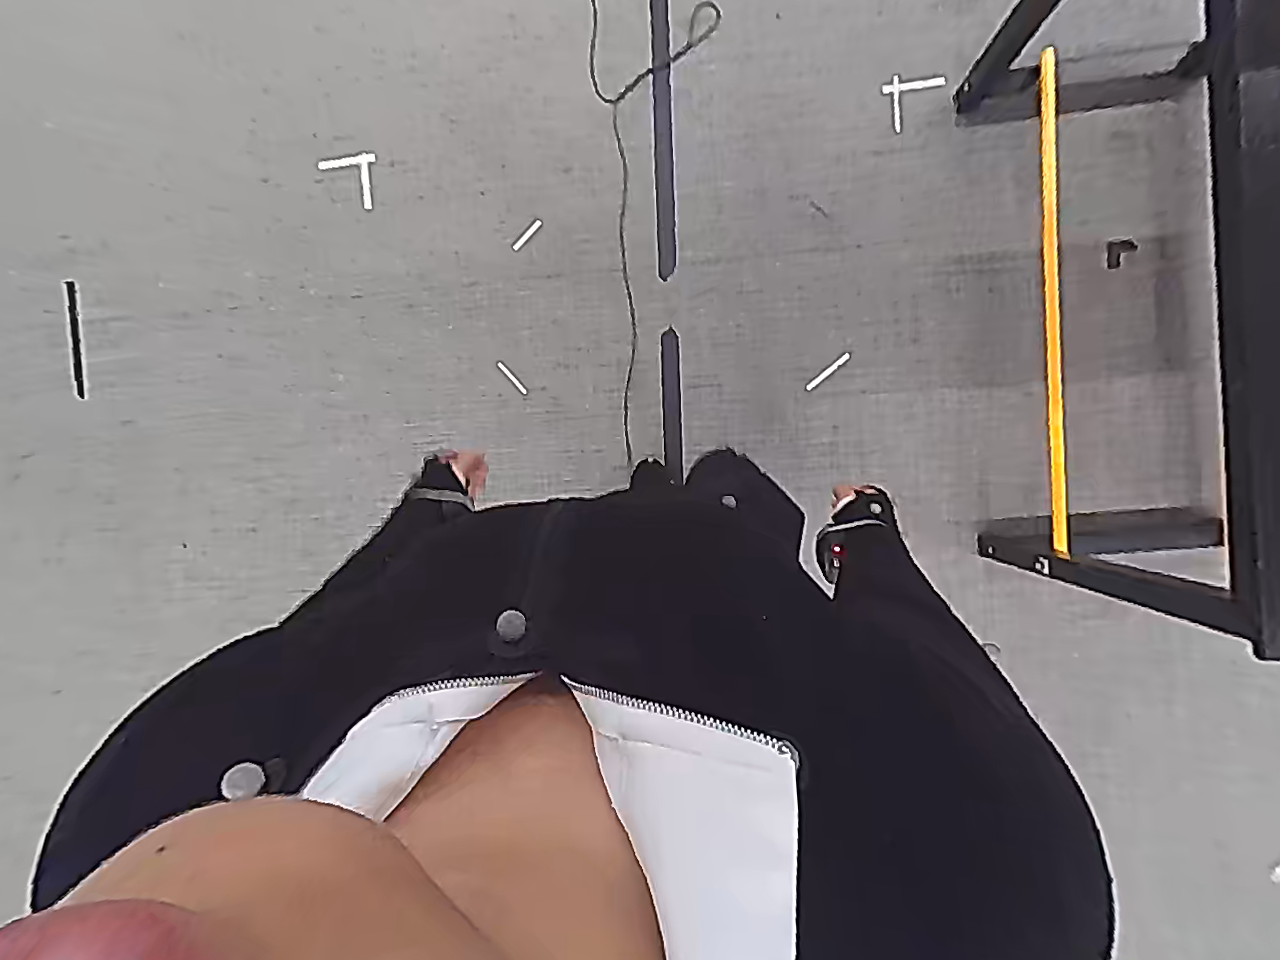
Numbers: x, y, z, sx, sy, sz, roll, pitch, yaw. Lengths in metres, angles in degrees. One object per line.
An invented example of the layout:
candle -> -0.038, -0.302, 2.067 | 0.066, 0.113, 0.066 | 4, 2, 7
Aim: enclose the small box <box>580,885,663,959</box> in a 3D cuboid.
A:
small box -> -0.036, 1.106, 1.286 | 0.179, 0.176, 0.168 | -3, 92, 8
